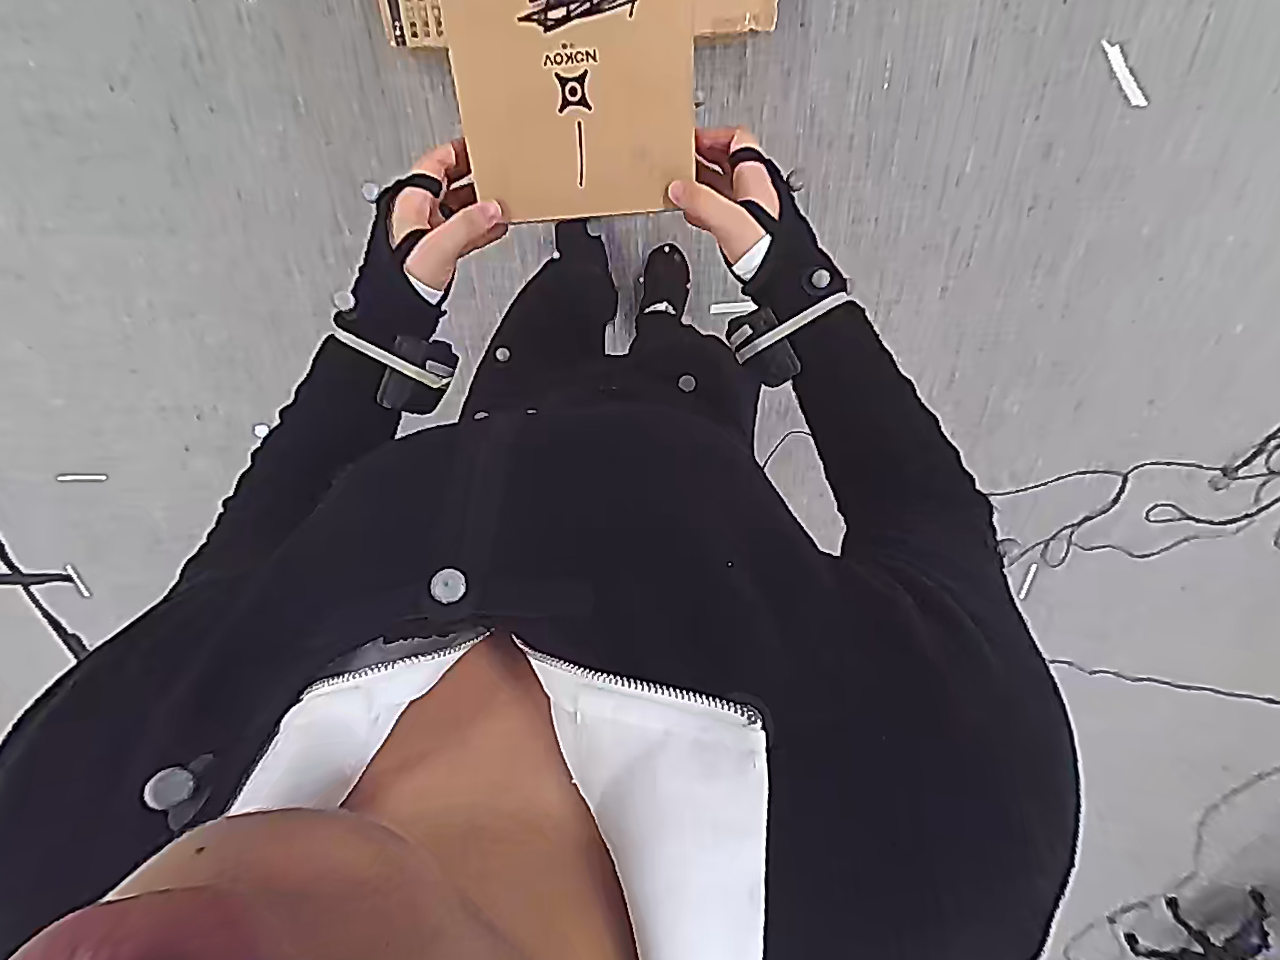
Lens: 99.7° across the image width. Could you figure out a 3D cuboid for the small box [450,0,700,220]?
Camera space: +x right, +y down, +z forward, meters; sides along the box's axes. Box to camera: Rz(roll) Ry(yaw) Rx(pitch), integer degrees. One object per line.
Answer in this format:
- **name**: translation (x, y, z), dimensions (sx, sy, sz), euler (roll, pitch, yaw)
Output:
- **small box**: translation (-0.041, -0.315, 0.443), dimensions (0.168, 0.176, 0.179), euler (-3, 117, 3)
